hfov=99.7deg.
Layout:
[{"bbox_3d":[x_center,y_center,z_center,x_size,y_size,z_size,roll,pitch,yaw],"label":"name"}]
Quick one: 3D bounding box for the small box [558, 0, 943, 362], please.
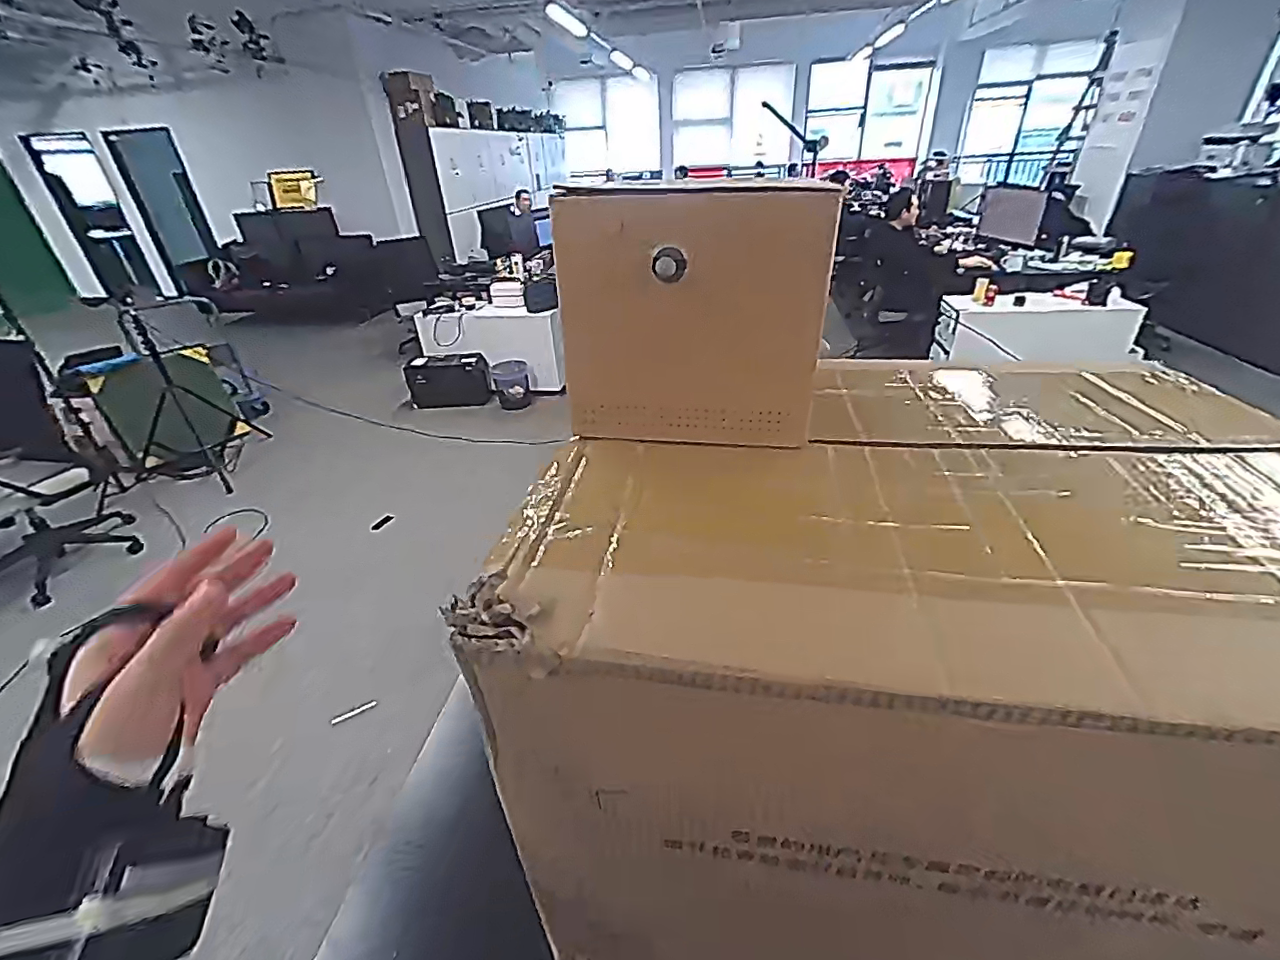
[{"bbox_3d":[0.061,-0.180,0.347,0.179,0.176,0.168,4,31,9],"label":"small box"}]
